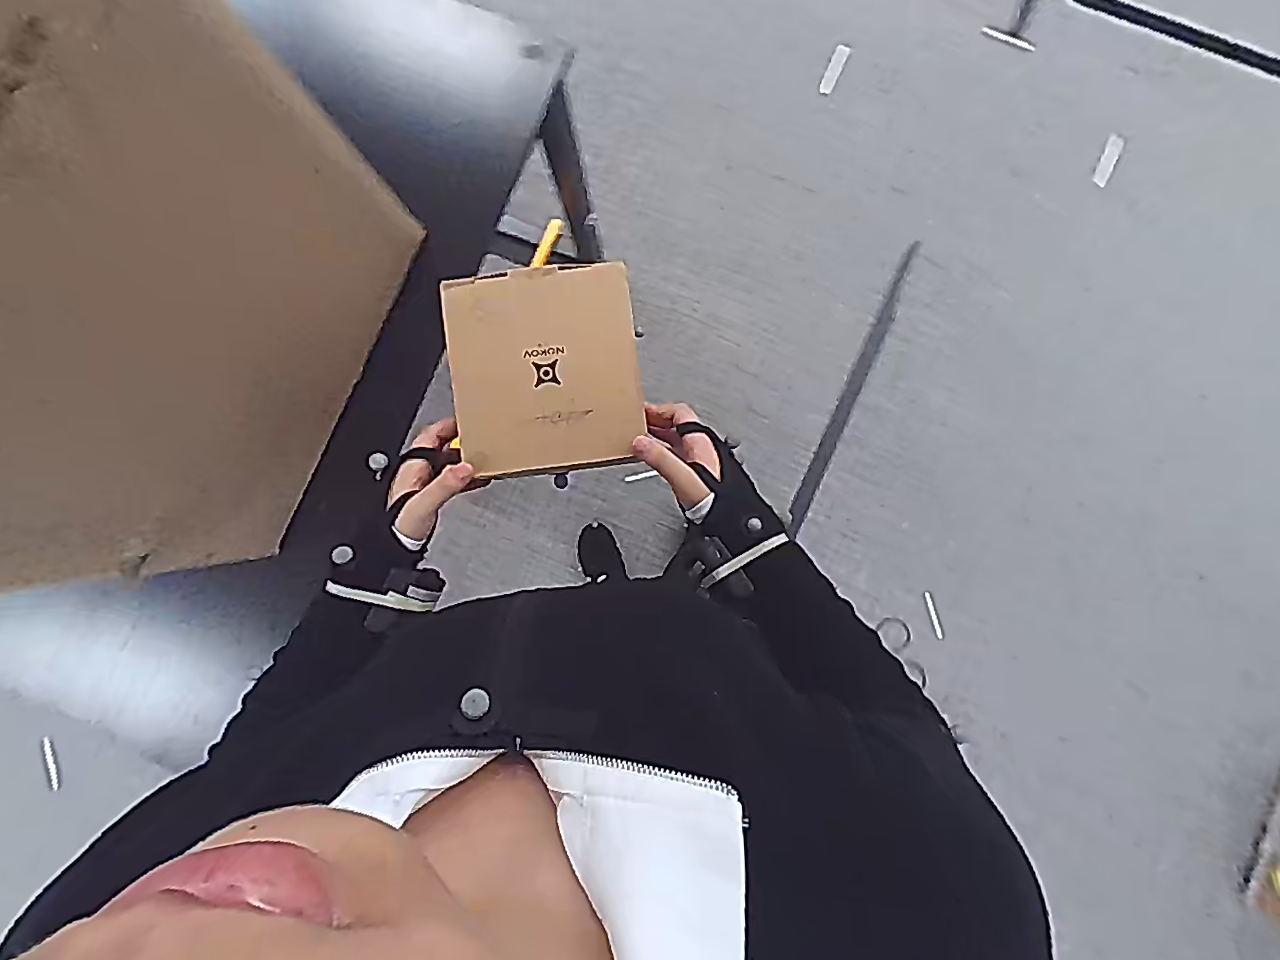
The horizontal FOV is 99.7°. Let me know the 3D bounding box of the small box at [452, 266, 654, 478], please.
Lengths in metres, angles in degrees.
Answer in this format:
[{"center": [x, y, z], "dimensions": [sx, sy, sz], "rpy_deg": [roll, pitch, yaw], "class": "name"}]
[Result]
[{"center": [-0.080, -0.095, 0.551], "dimensions": [0.168, 0.176, 0.179], "rpy_deg": [-6, 91, -2], "class": "small box"}]
